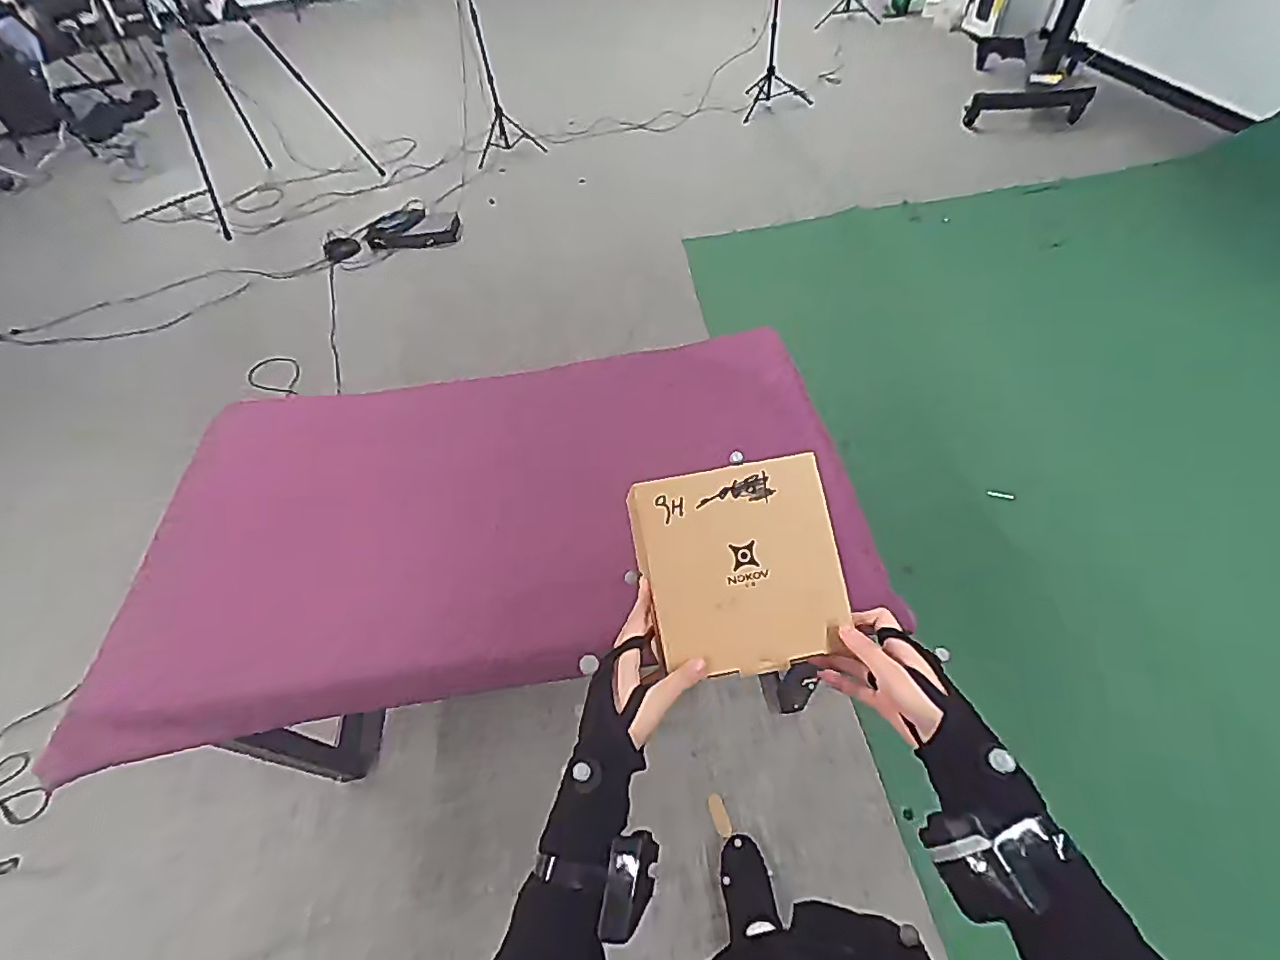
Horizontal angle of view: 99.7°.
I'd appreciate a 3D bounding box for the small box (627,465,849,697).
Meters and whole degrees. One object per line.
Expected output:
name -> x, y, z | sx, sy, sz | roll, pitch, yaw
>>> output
small box -> 0.081, 0.090, 0.540 | 0.168, 0.176, 0.179 | -10, 85, -4
